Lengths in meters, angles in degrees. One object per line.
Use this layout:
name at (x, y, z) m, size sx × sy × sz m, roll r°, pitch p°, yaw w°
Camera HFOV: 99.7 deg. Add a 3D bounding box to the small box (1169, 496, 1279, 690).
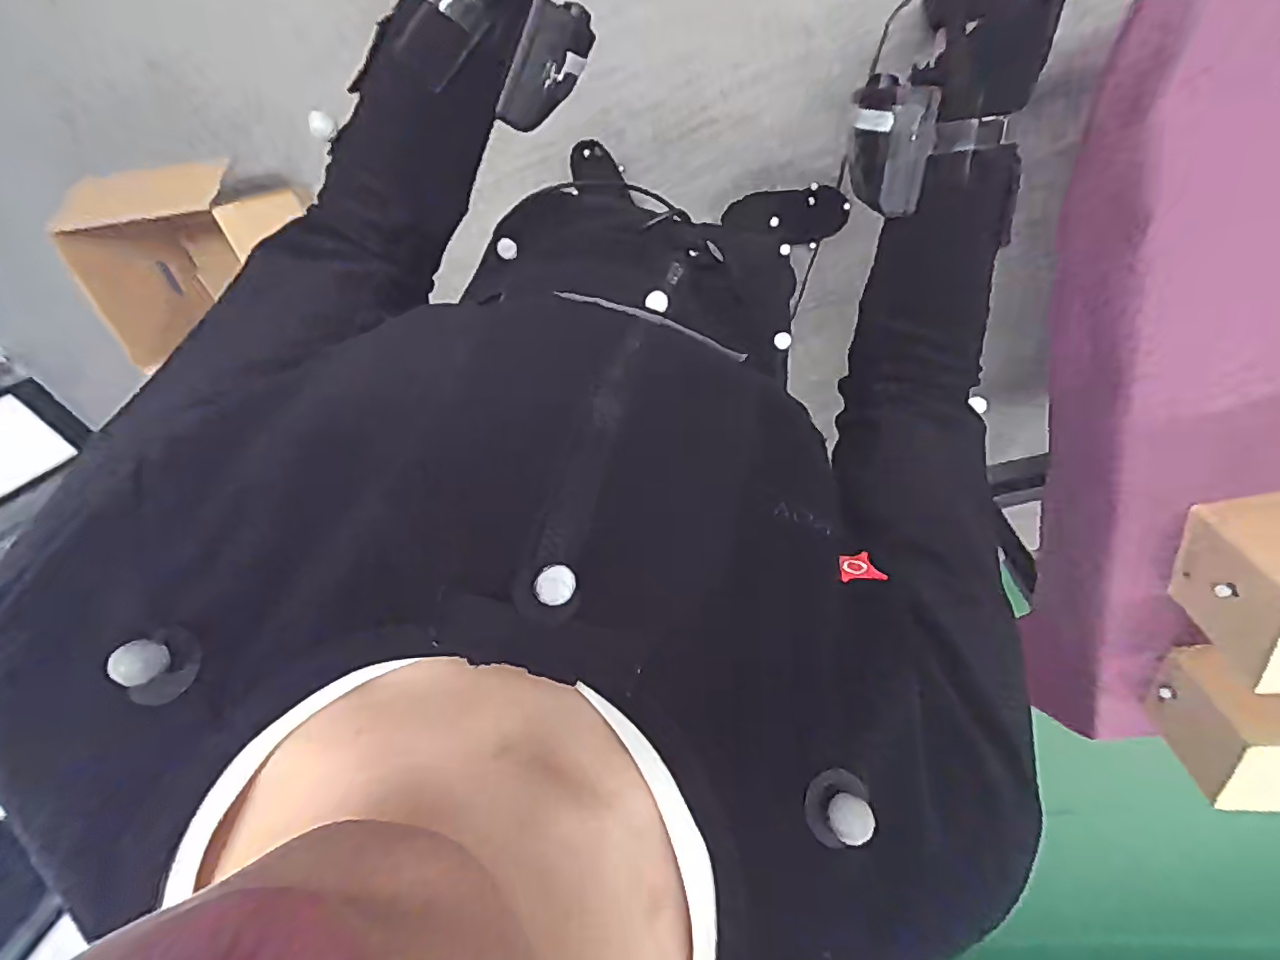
small box at (0.808, 0.129, 0.656) m, size 0.179 × 0.176 × 0.168 m, roll -11°, pitch 123°, yaw 16°
